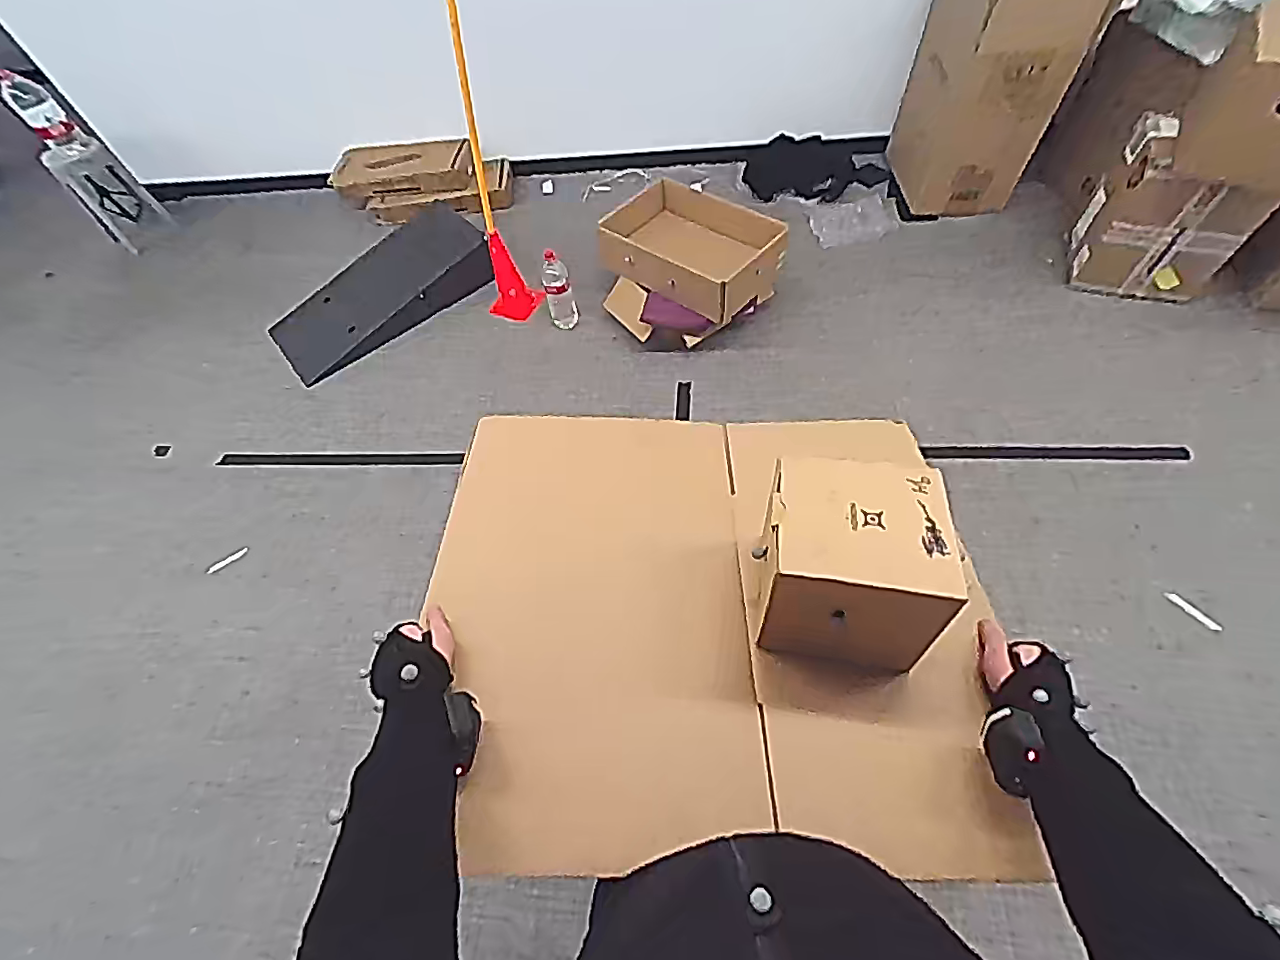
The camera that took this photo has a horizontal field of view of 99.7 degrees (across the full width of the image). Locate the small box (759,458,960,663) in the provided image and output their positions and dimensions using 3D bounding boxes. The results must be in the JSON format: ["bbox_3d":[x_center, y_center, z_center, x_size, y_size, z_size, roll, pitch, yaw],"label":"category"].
[{"bbox_3d":[0.235,0.095,0.628,0.179,0.176,0.168,6,50,10],"label":"small box"}]
